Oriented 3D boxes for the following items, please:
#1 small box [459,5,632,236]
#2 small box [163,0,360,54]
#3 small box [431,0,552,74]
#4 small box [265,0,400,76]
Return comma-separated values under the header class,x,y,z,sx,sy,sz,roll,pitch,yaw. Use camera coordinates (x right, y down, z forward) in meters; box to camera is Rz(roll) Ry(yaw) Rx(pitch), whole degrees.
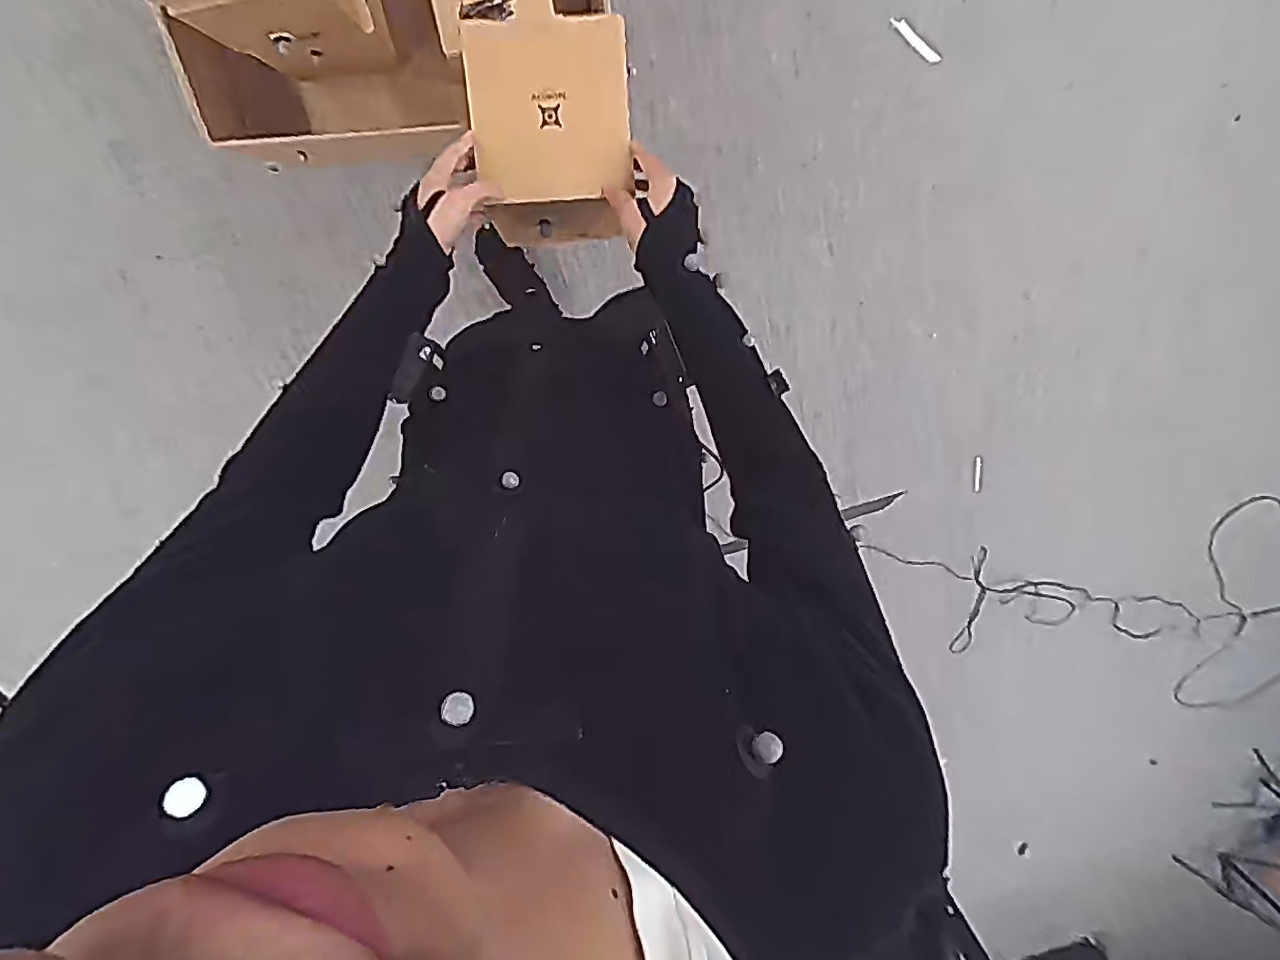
class,x,y,z,sx,sy,sz,roll,pitch,yaw
small box,-0.097,-0.396,0.630,0.168,0.176,0.179,-5,99,-3
small box,-0.457,-0.633,0.621,0.168,0.176,0.179,-13,116,-2
small box,-0.219,-0.722,0.801,0.168,0.176,0.179,-11,115,-4
small box,-0.472,-0.701,0.769,0.179,0.176,0.168,-12,116,-4
